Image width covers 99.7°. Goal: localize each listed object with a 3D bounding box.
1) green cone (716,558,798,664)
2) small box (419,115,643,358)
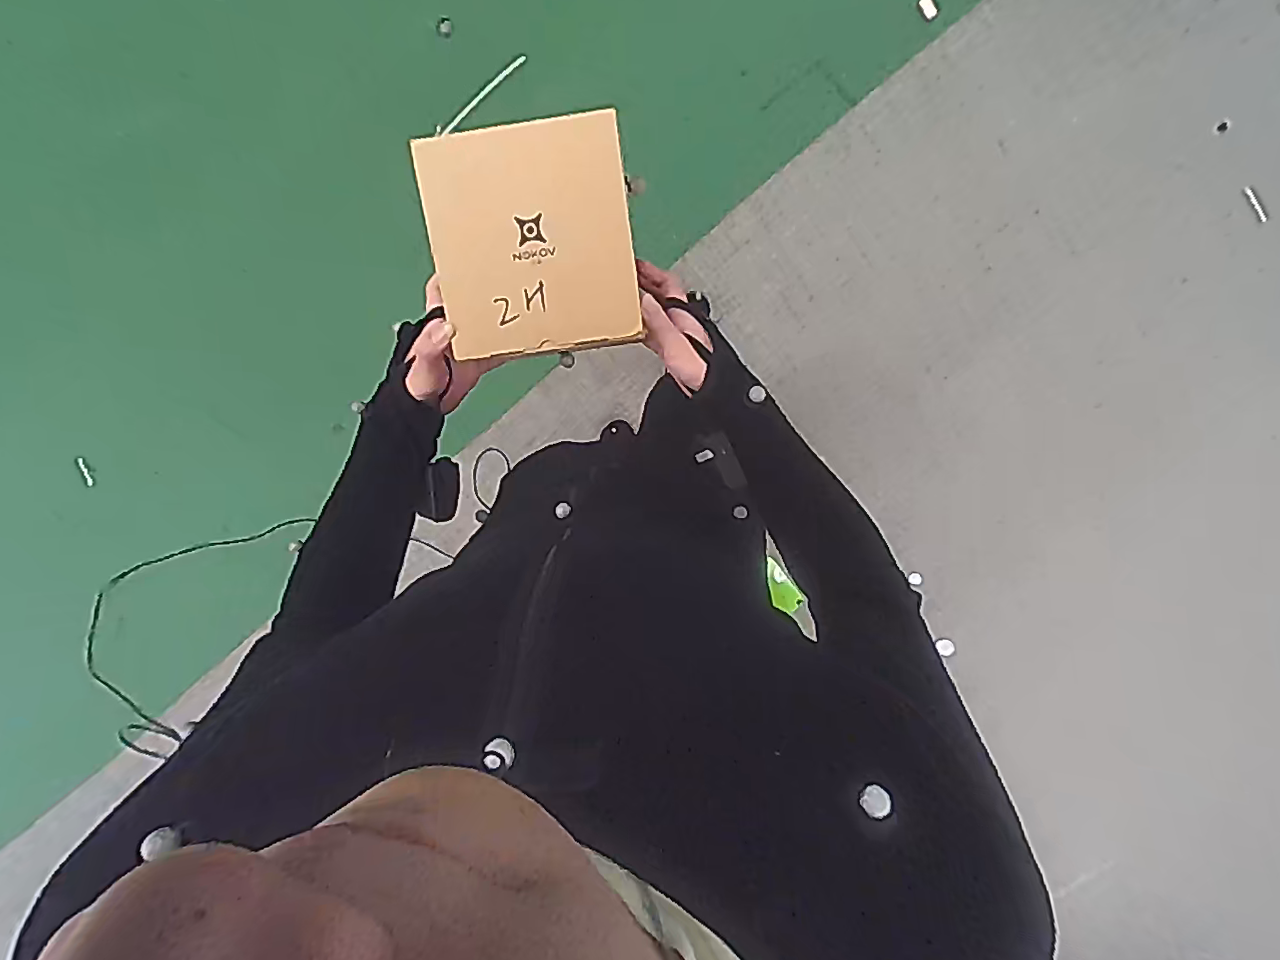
[{"bbox_3d":[0.365,0.402,1.534,0.202,0.368,0.200,-37,99,9],"label":"green cone"},{"bbox_3d":[-0.089,-0.217,0.530,0.168,0.176,0.179,-7,103,2],"label":"small box"}]
